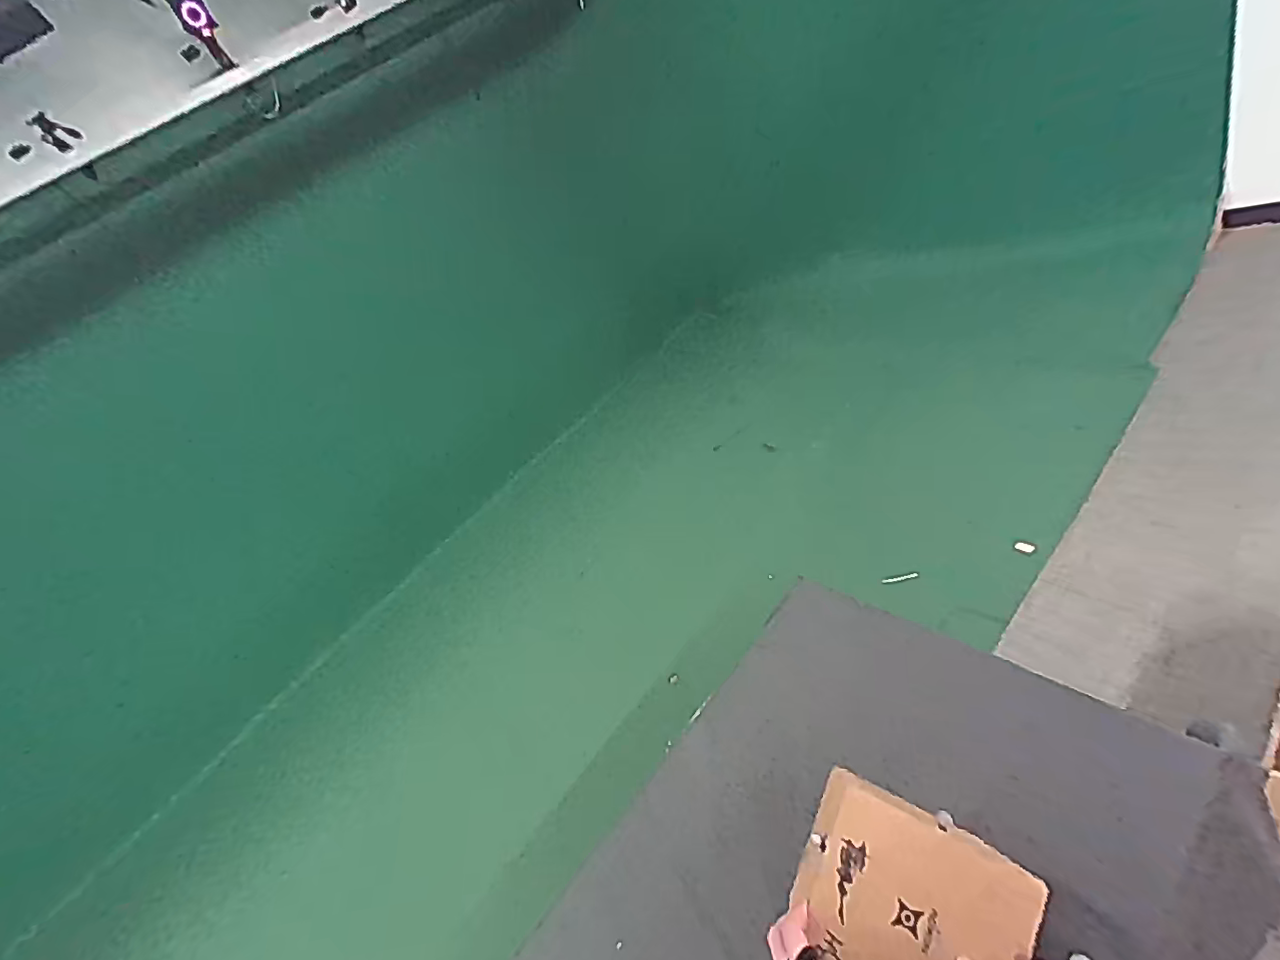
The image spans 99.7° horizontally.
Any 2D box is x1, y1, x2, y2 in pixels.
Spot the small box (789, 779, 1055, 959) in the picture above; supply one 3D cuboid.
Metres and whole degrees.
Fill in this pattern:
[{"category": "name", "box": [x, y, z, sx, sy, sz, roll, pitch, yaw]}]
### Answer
[{"category": "small box", "box": [0.263, 0.428, 0.544, 0.179, 0.176, 0.168, 21, 74, 21]}]
